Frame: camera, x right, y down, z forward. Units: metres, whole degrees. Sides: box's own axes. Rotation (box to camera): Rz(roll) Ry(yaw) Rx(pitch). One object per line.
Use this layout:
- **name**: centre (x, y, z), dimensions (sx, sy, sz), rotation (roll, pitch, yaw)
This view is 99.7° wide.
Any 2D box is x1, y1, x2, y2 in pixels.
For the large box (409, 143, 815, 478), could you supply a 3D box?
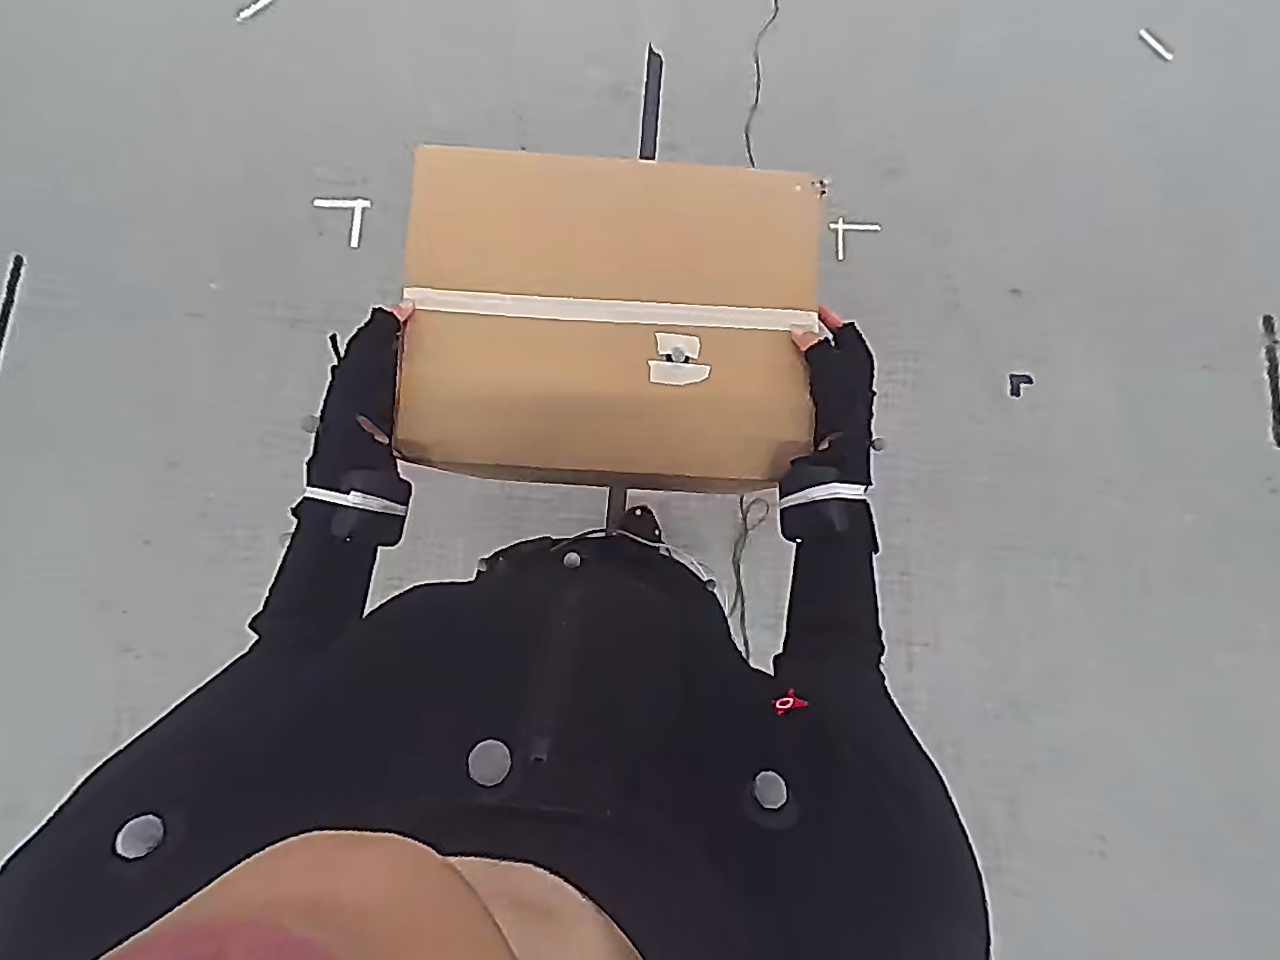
- **large box**: centre (-0.031, -0.171, 0.691), dimensions (0.408, 0.320, 0.320), rotation (3, 88, -2)
